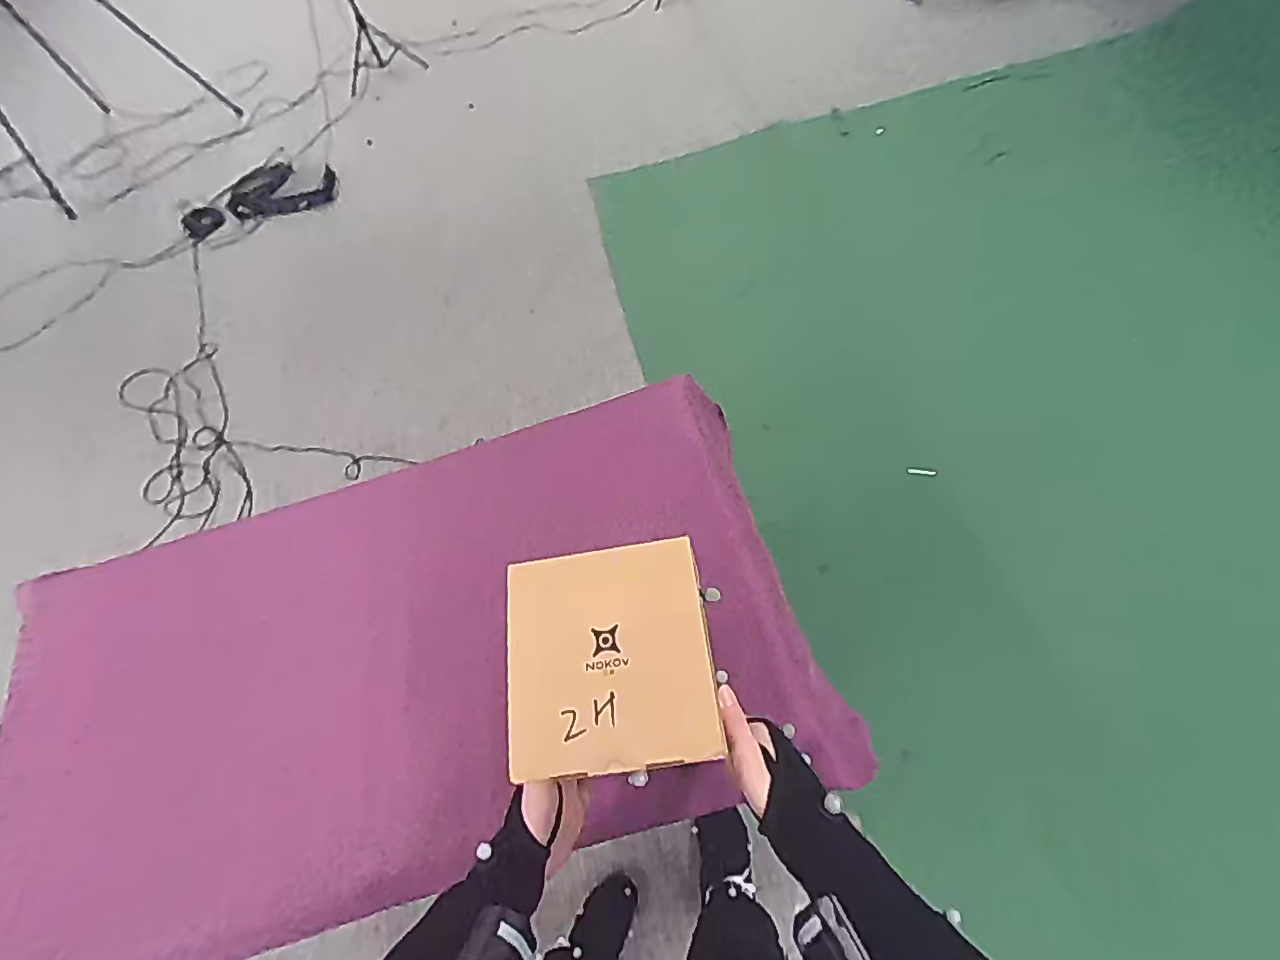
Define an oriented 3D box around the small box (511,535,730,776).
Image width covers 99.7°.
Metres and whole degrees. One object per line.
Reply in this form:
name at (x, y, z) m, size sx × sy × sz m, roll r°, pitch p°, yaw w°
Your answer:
small box at (-0.012, 0.170, 0.506) m, size 0.168 × 0.176 × 0.179 m, roll -9°, pitch 63°, yaw 5°
